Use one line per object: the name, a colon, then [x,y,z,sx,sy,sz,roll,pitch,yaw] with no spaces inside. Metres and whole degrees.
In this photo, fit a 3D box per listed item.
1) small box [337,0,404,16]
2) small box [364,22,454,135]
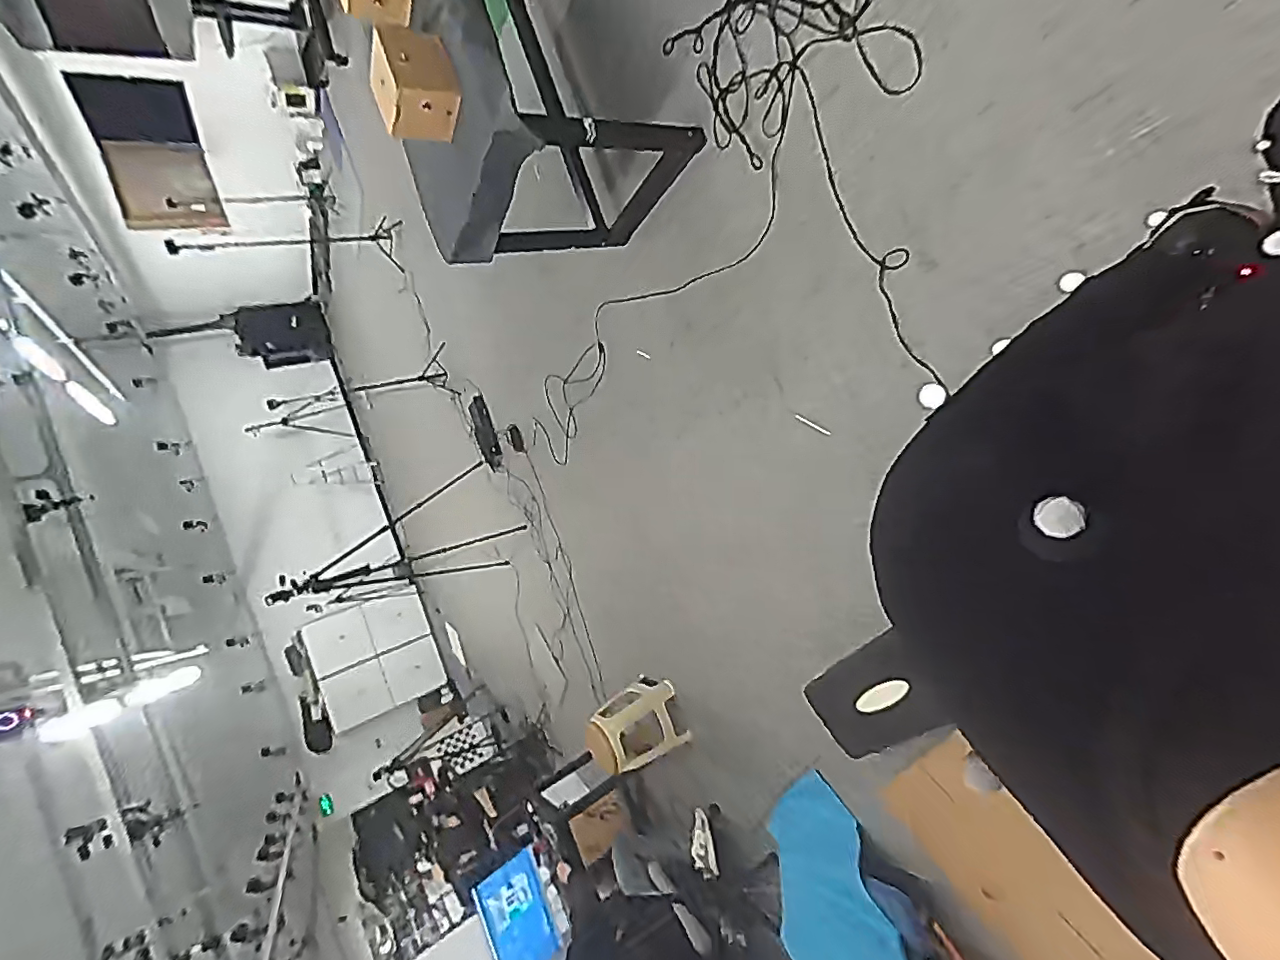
small box: [-0.726,-1.375,1.426,0.168,0.176,0.179,-22,87,58]
small box: [-0.604,-1.039,1.417,0.168,0.176,0.179,-24,84,56]
